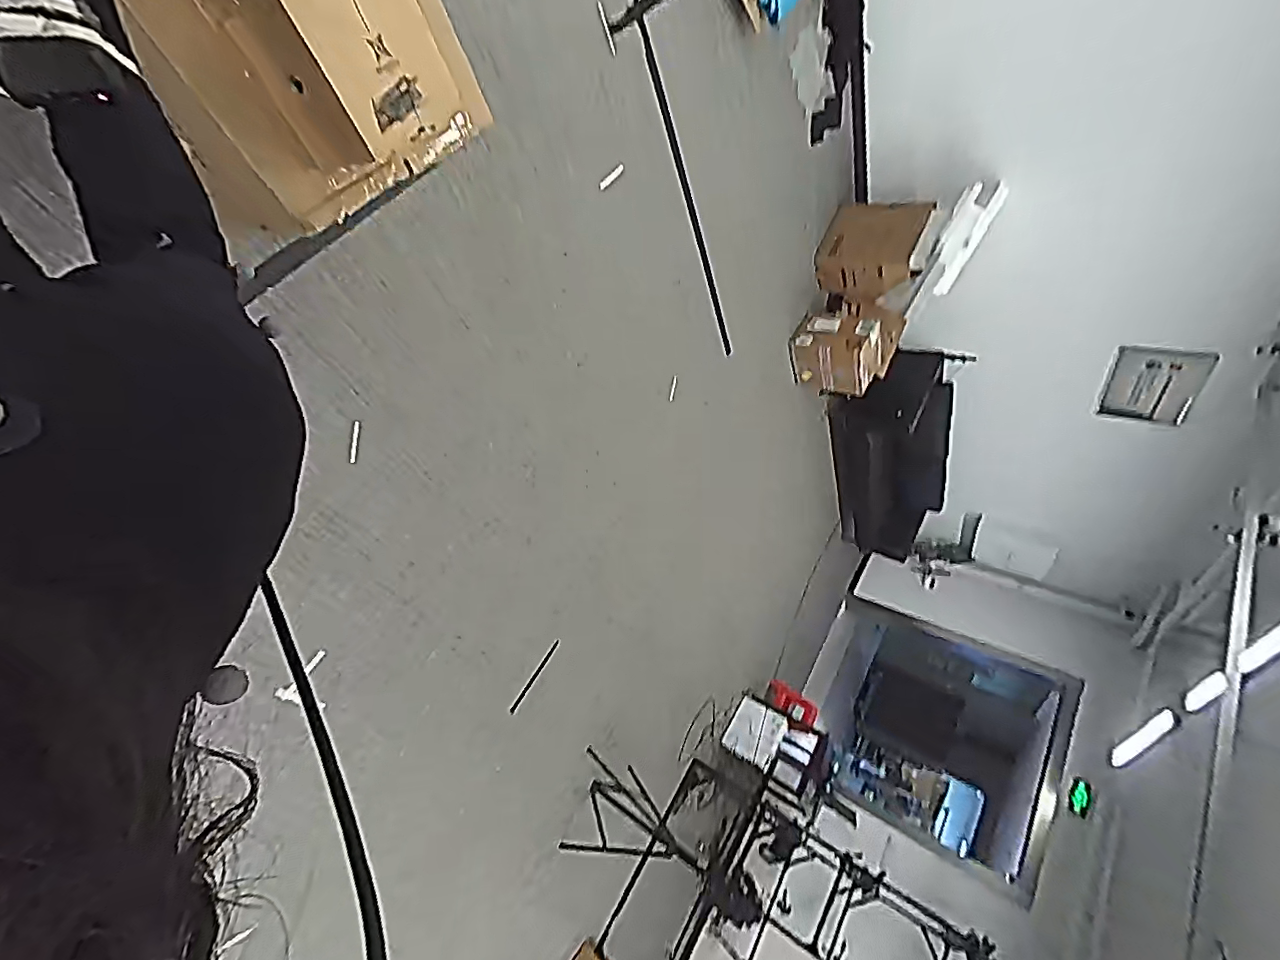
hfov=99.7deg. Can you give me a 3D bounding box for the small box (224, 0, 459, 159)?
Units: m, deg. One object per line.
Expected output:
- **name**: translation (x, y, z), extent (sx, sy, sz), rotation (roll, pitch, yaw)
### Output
- **small box**: translation (-0.382, -0.542, 0.704), extent (0.168, 0.176, 0.179), rotation (-51, 139, -26)
